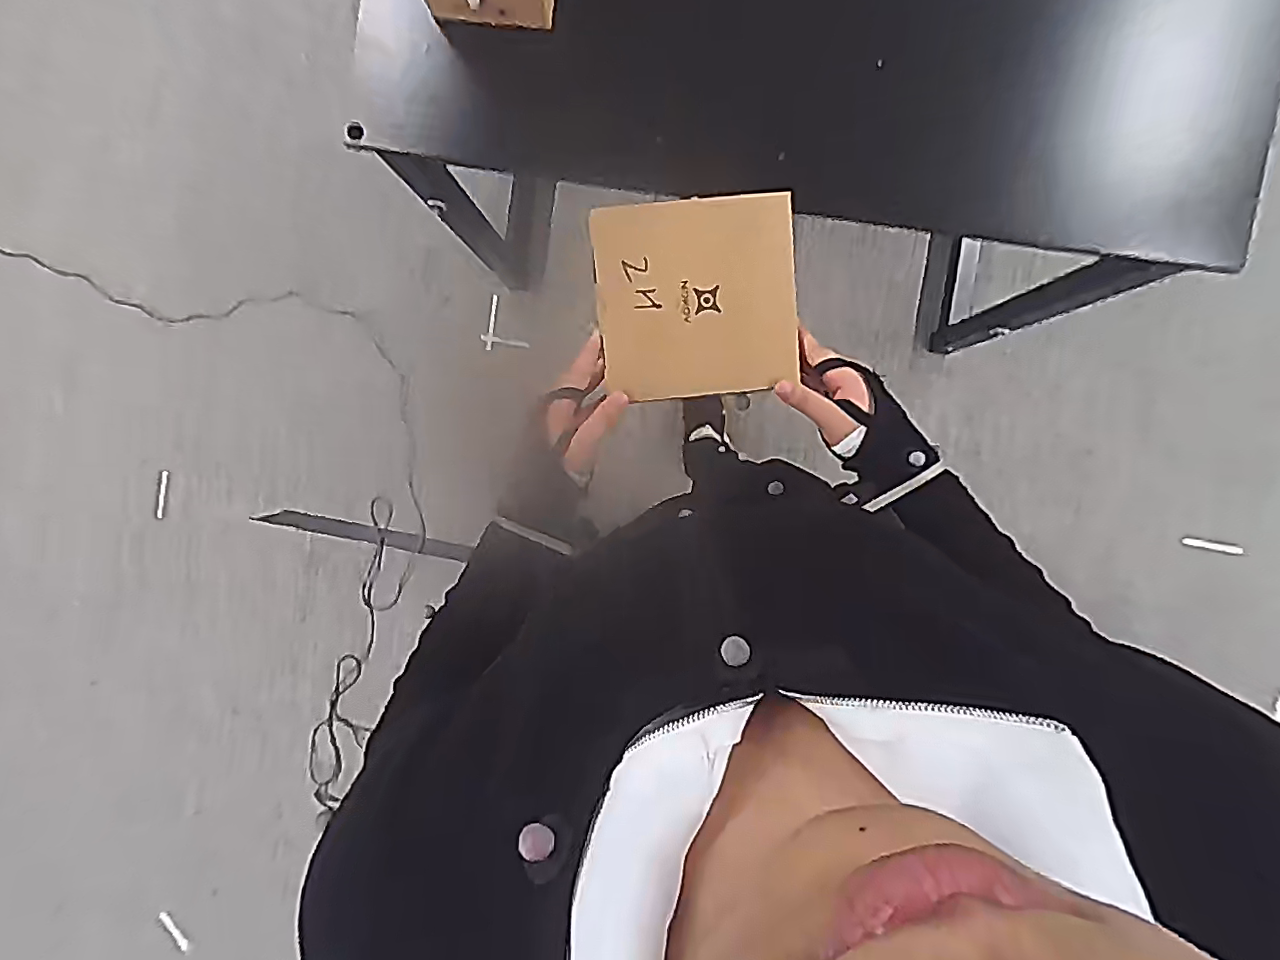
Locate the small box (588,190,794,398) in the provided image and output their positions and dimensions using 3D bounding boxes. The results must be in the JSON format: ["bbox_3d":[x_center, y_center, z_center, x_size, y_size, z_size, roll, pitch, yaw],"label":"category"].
[{"bbox_3d":[0.044,-0.175,0.554,0.179,0.176,0.168,-6,98,-1],"label":"small box"}]

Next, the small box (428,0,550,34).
[{"bbox_3d":[-0.198,-0.695,0.648,0.168,0.176,0.179,7,94,2],"label":"small box"}]
